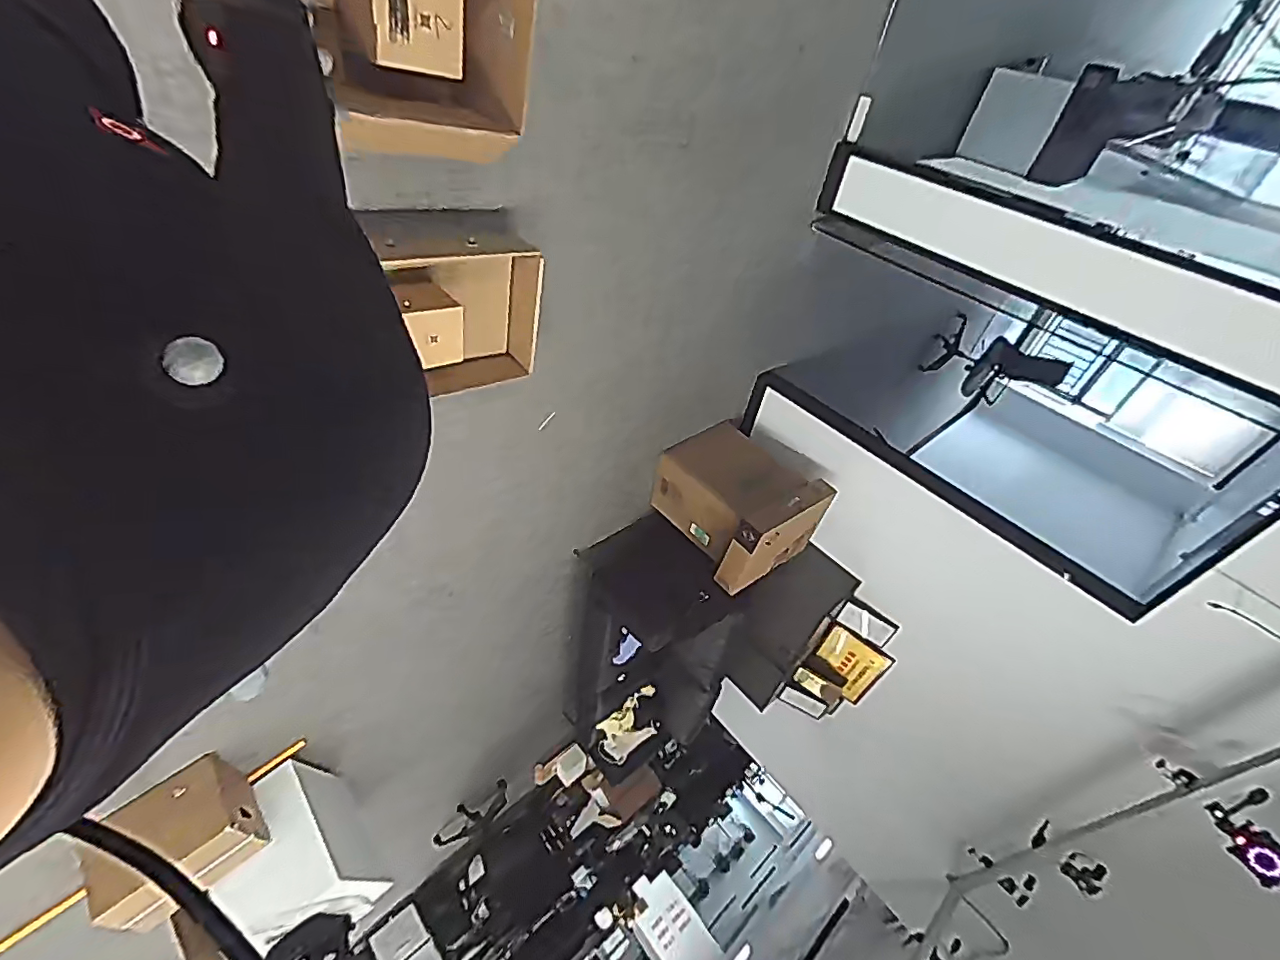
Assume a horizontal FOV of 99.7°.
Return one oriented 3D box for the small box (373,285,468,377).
[{"bbox_3d":[-0.577,-0.401,1.430,0.179,0.176,0.168,-23,143,-37],"label":"small box"}]
